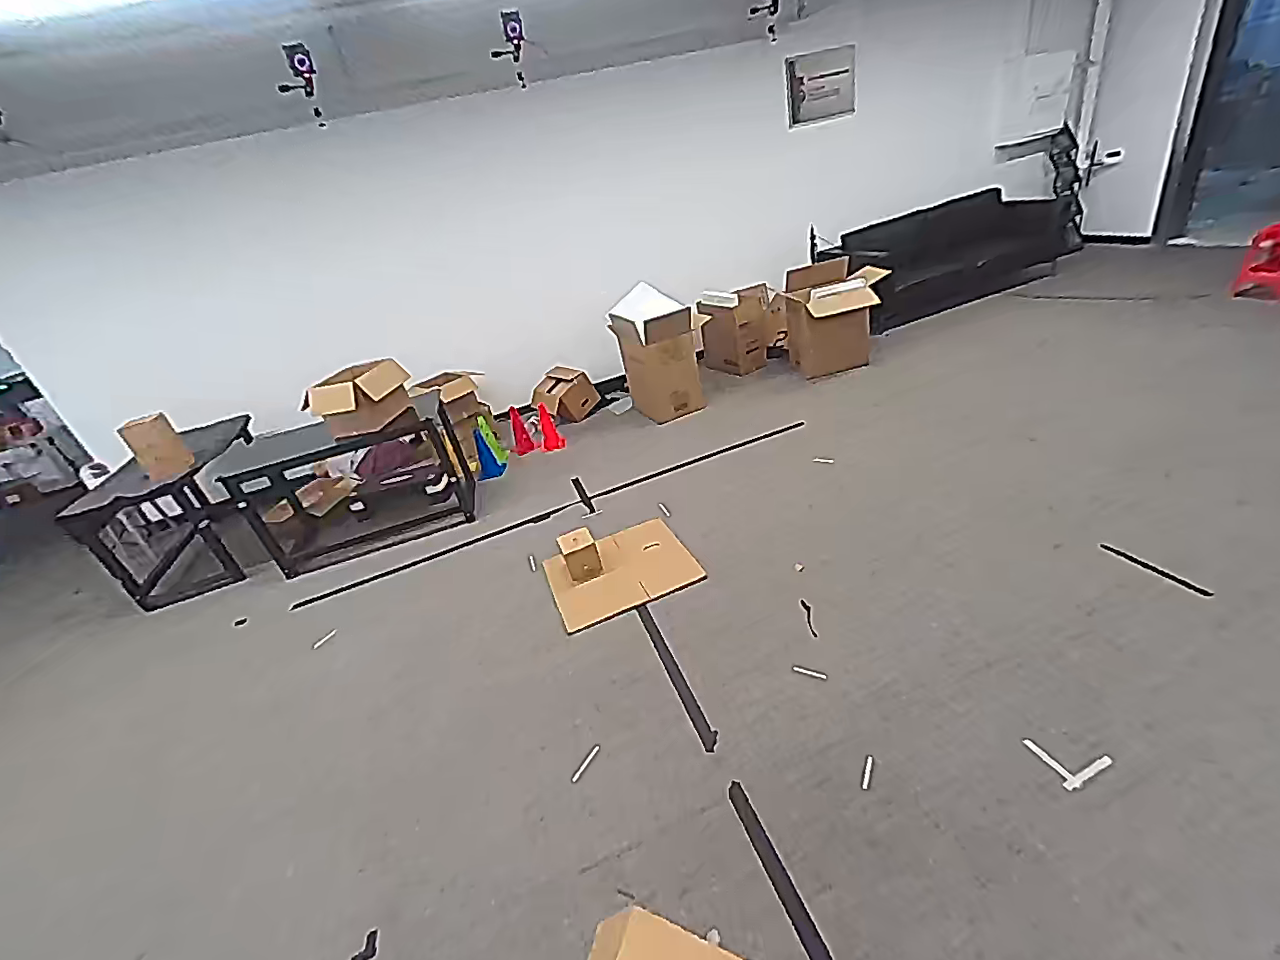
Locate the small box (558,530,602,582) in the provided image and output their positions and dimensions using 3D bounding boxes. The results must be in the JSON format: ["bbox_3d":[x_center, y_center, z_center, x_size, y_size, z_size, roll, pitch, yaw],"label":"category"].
[{"bbox_3d":[-0.306,0.386,2.753,0.168,0.176,0.179,-21,29,-12],"label":"small box"}]

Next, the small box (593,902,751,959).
[{"bbox_3d":[0.027,0.542,0.508,0.179,0.176,0.168,24,44,3],"label":"small box"}]
